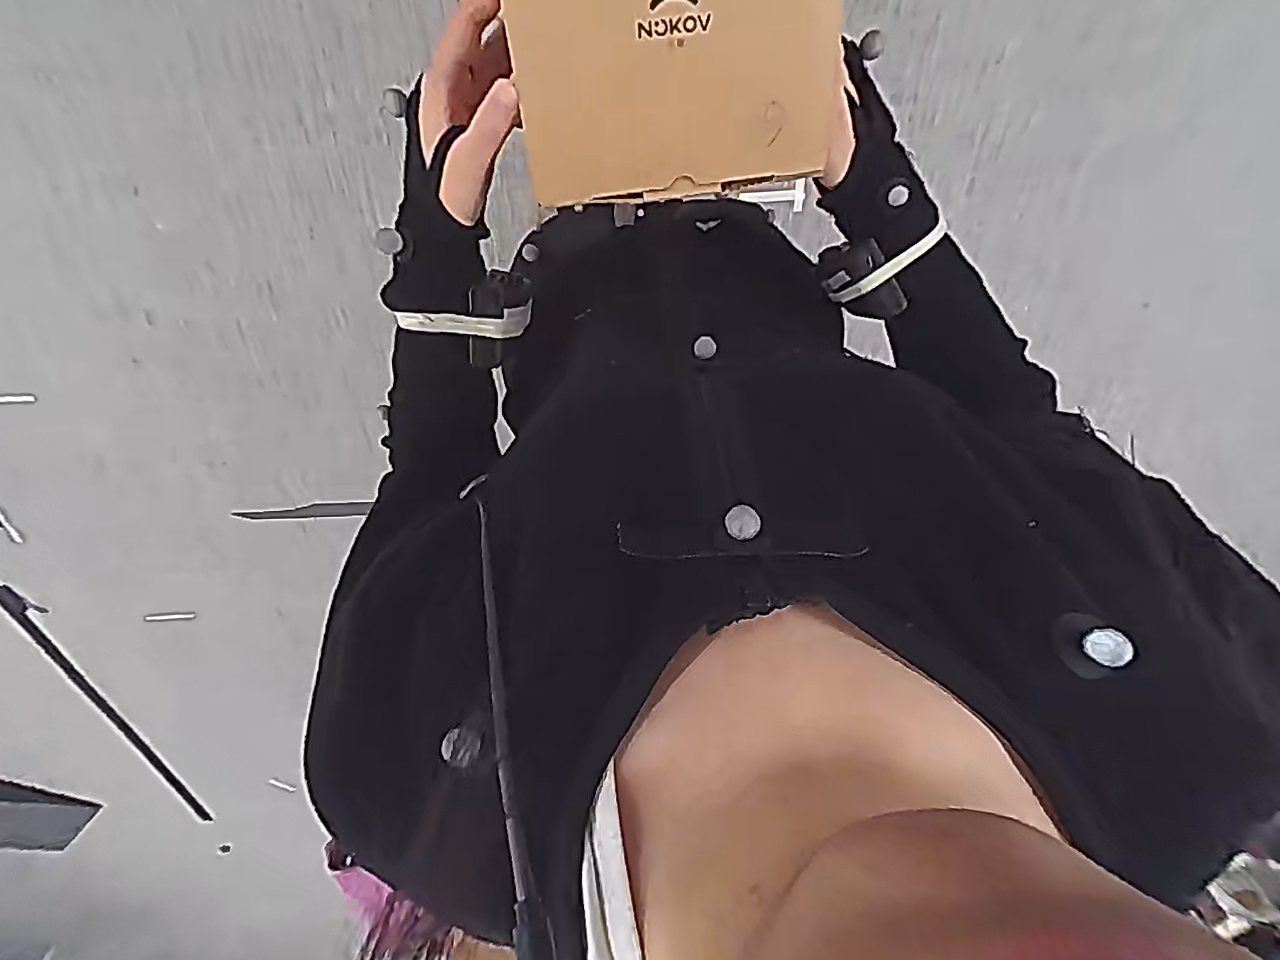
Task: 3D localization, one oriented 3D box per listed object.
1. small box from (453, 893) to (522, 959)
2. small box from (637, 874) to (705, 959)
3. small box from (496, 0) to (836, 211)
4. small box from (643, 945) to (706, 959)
[{"bbox_3d":[-0.420,1.287,1.509,0.168,0.176,0.179,2,123,-8],"label":"small box"},{"bbox_3d":[0.082,1.250,1.541,0.168,0.176,0.179,-2,124,-5],"label":"small box"},{"bbox_3d":[0.010,-0.281,0.321,0.168,0.176,0.179,-8,126,3],"label":"small box"},{"bbox_3d":[0.097,1.346,1.408,0.168,0.176,0.179,-3,125,-5],"label":"small box"}]
